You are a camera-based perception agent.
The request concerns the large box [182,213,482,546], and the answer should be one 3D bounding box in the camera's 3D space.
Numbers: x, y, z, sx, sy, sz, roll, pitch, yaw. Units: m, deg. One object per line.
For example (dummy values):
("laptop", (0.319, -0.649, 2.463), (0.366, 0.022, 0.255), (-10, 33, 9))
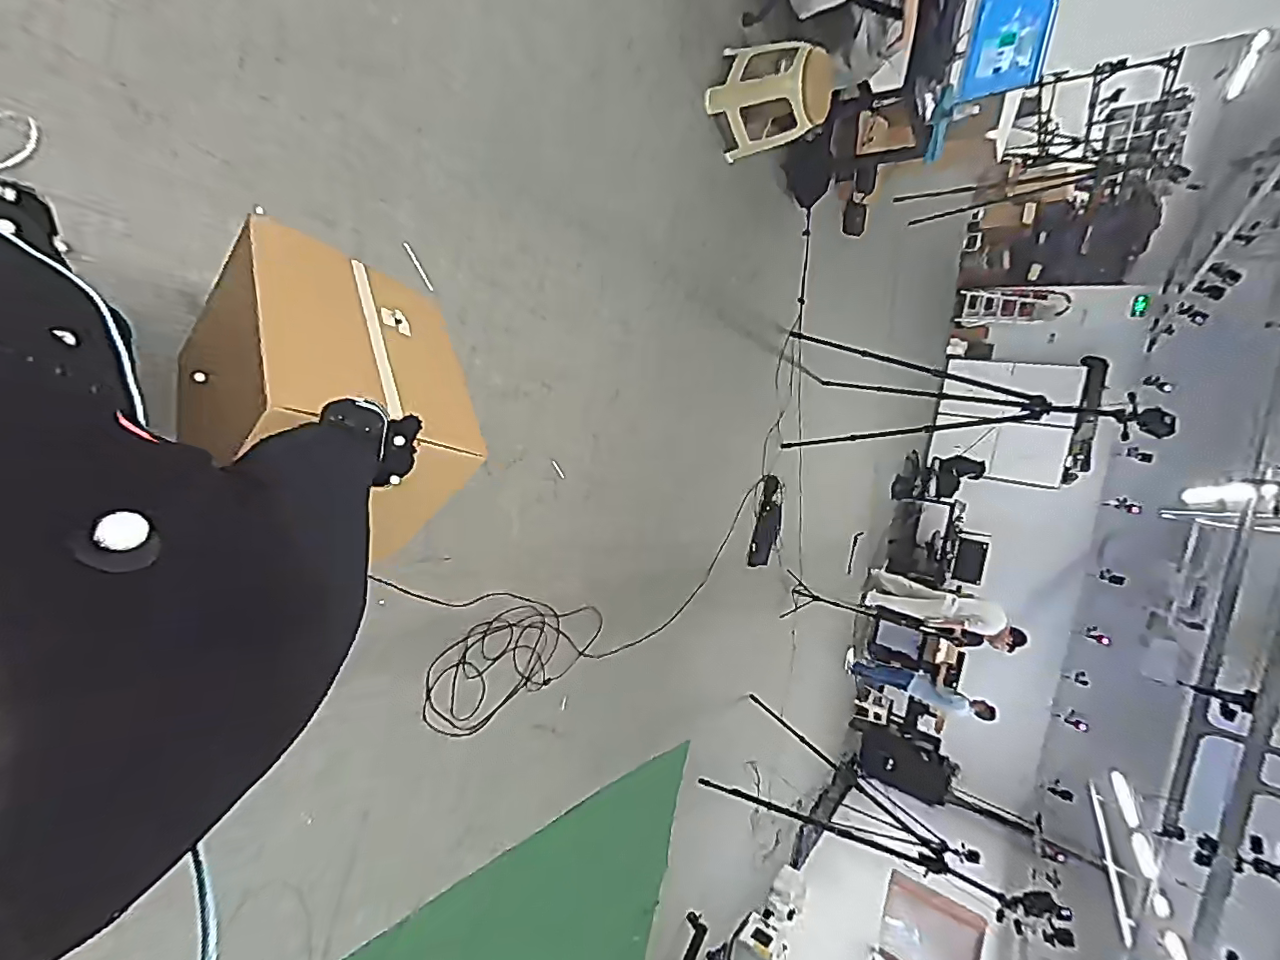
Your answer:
("large box", (-0.527, -0.138, 0.907), (0.320, 0.408, 0.320), (-40, 149, 23))
